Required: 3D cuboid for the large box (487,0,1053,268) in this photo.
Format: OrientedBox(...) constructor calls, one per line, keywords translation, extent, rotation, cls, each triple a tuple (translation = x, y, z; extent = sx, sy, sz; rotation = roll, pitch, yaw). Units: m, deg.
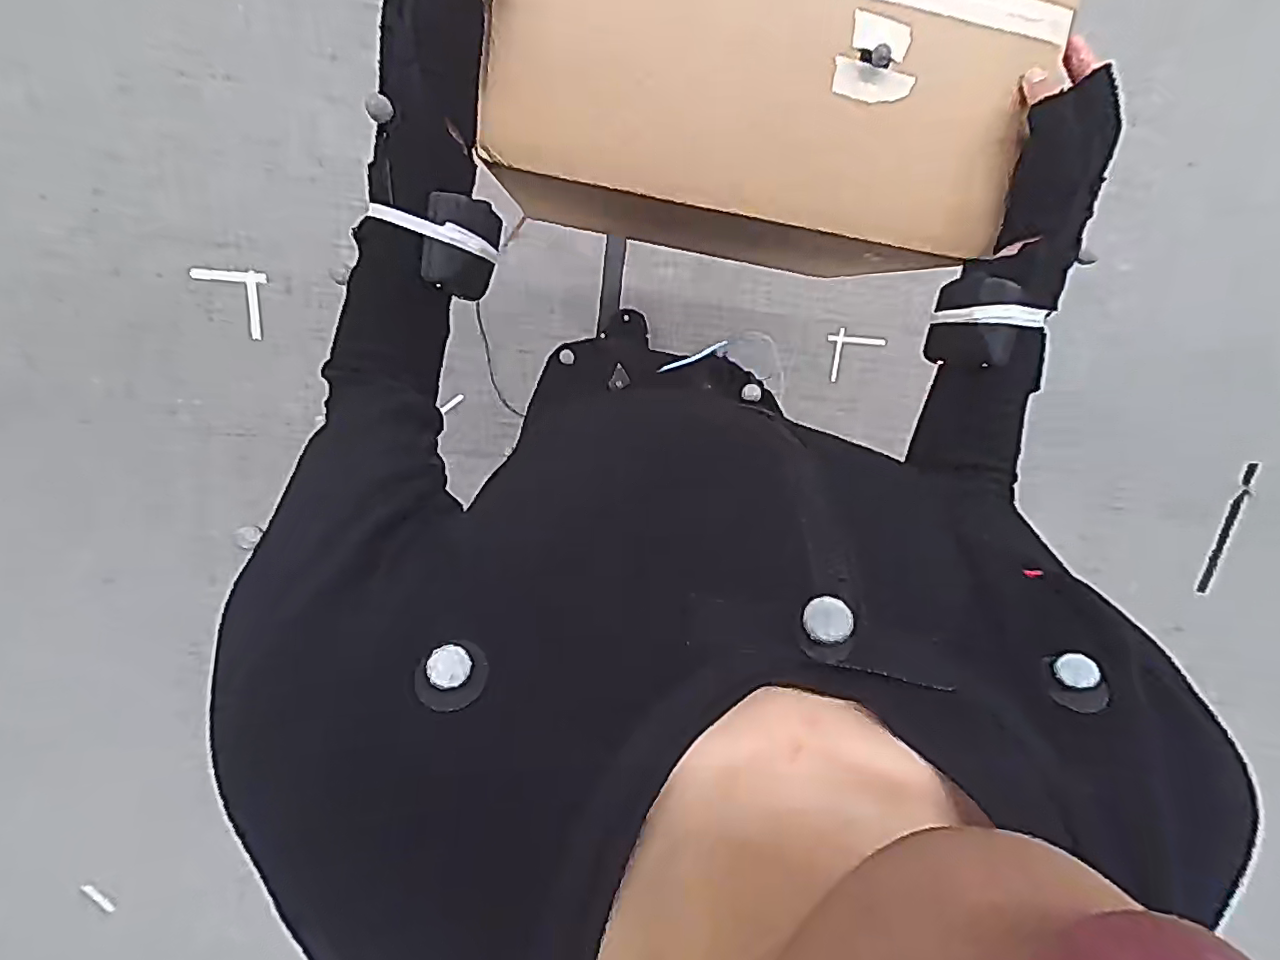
OrientedBox(translation=(0.088, -0.404, 0.517), extent=(0.408, 0.320, 0.320), rotation=(8, 108, -8), cls="large box")
